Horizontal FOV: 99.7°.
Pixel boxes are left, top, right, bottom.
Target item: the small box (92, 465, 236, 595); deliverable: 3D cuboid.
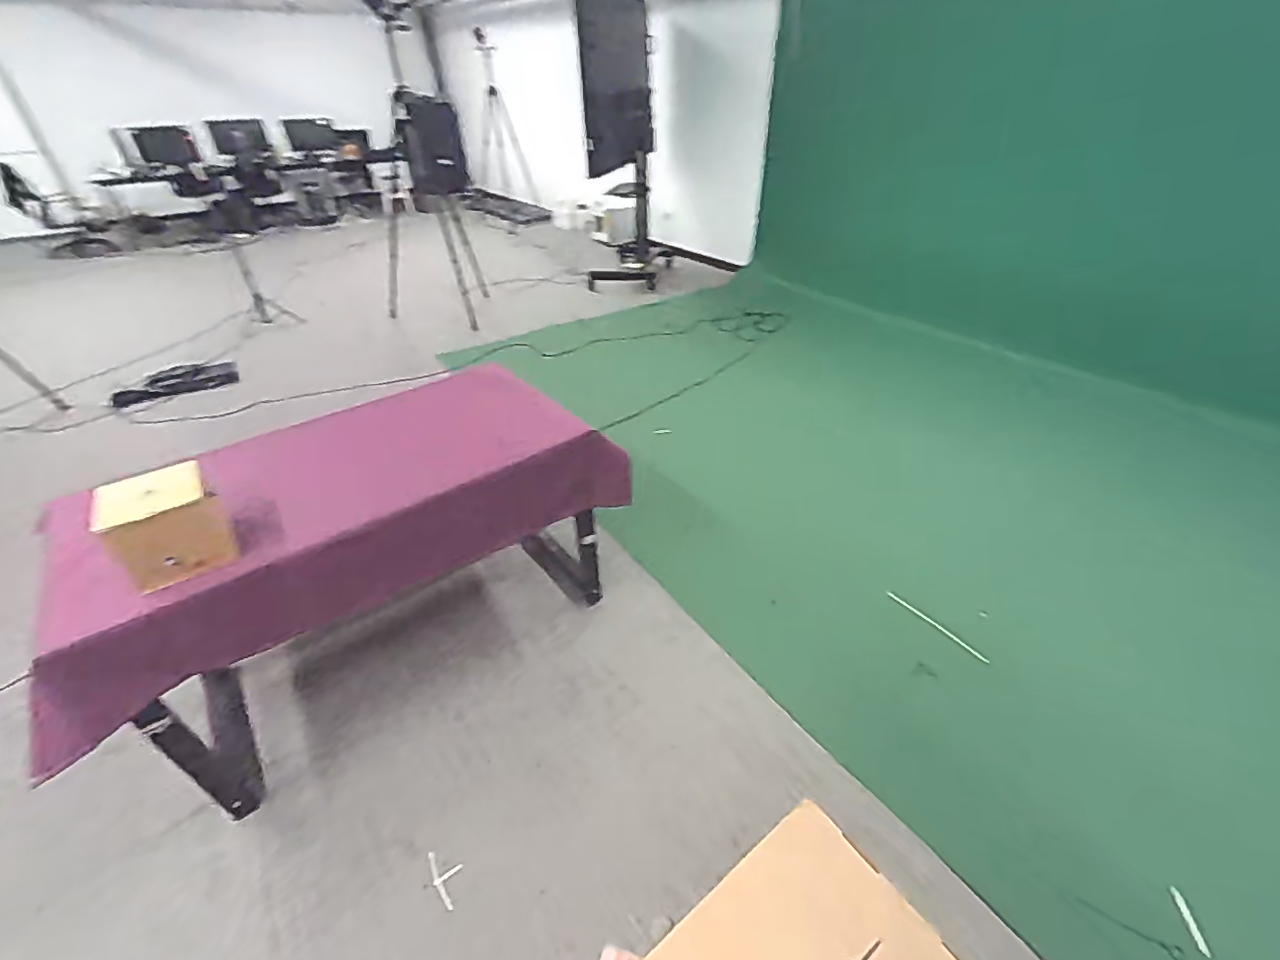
[{"bbox_3d":[-0.968,0.101,1.110,0.168,0.176,0.179,-25,43,-29],"label":"small box"}]
